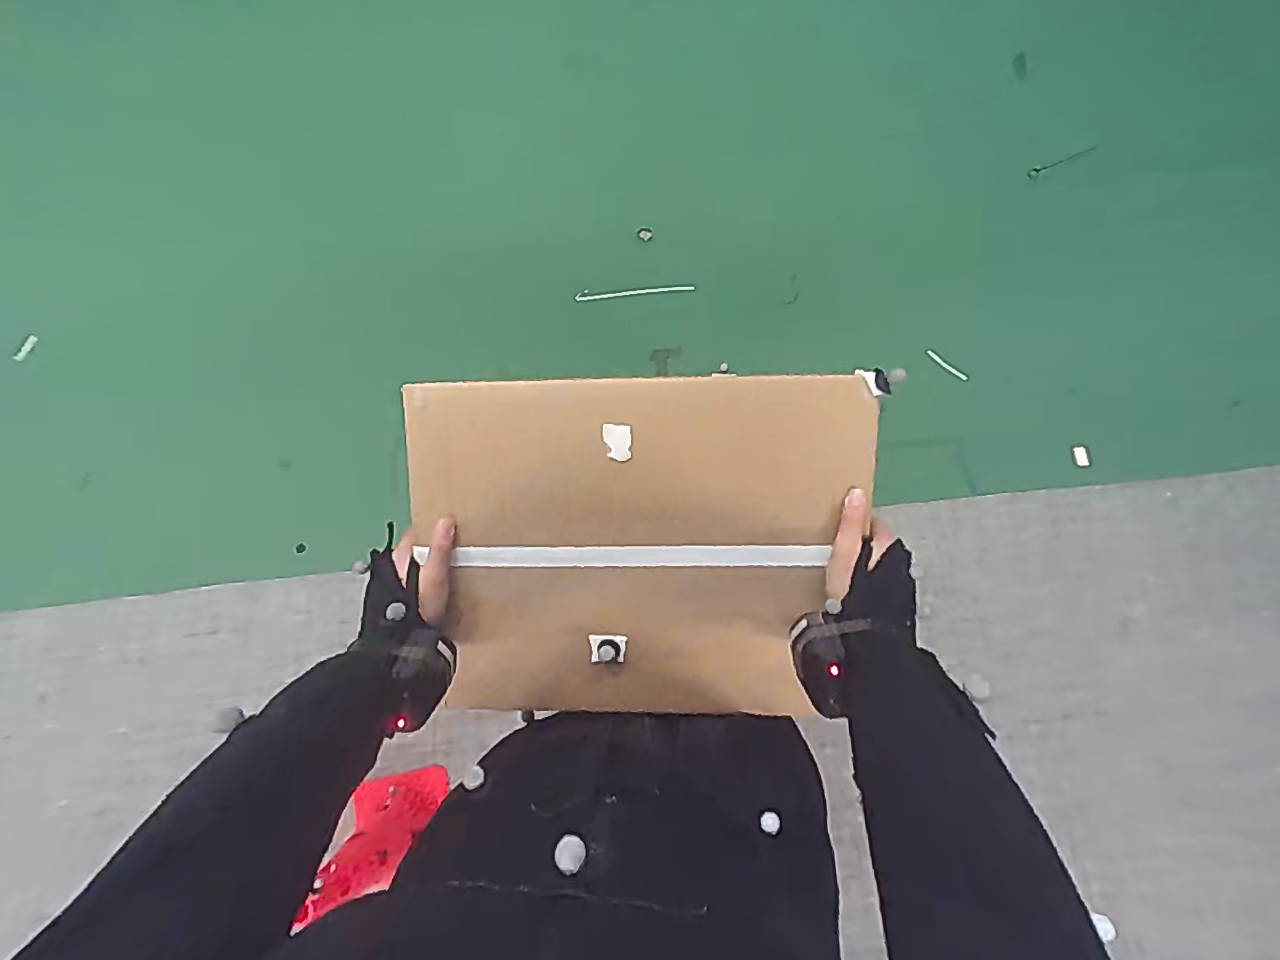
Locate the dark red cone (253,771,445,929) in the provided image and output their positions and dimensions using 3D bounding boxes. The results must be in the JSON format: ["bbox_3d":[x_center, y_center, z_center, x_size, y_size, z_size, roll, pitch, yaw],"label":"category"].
[{"bbox_3d":[-0.503,0.658,0.929,0.202,0.394,0.201,-14,72,-2],"label":"dark red cone"}]
